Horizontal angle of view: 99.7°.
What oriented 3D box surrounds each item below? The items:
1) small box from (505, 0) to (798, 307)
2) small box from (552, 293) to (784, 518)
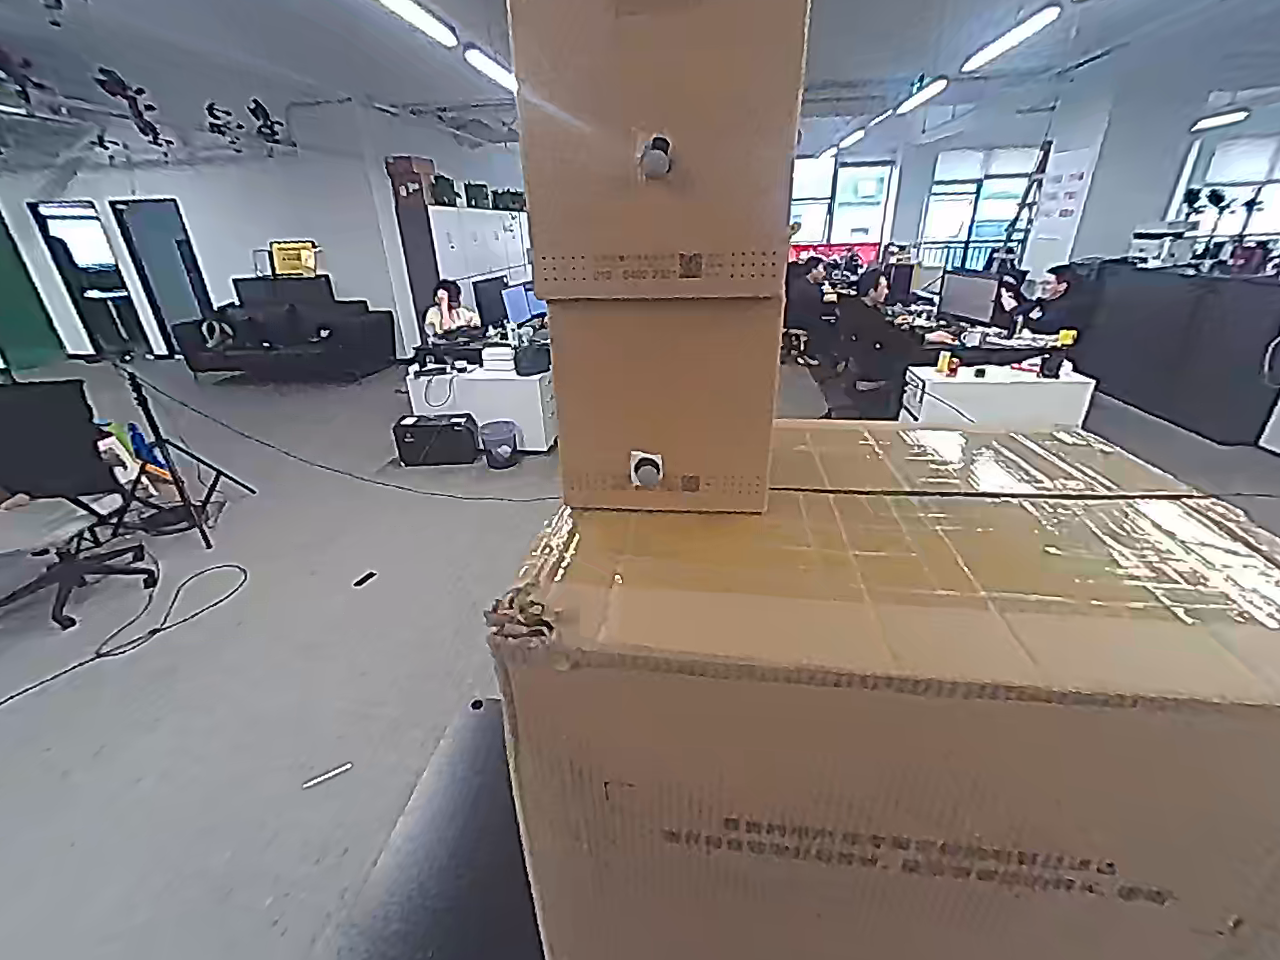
[{"bbox_3d":[0.016,-0.223,0.399,0.168,0.176,0.179,1,25,5],"label":"small box"},{"bbox_3d":[0.025,-0.080,0.481,0.168,0.176,0.179,-1,25,4],"label":"small box"}]
